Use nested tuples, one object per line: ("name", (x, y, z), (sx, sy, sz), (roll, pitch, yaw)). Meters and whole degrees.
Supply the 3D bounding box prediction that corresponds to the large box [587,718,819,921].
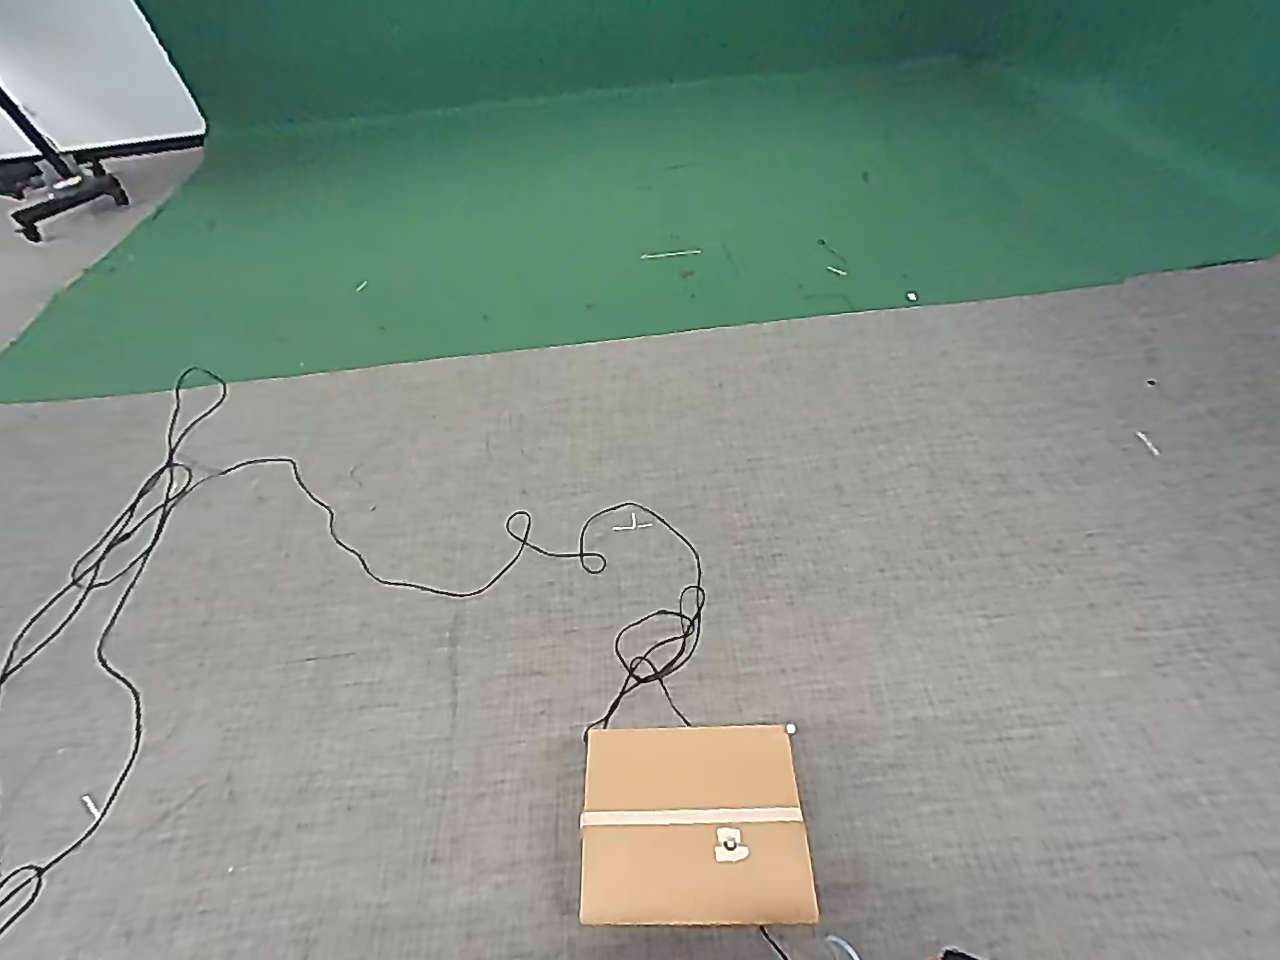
("large box", (0.112, 0.706, 1.120), (0.408, 0.320, 0.320), (-3, 52, 3))
